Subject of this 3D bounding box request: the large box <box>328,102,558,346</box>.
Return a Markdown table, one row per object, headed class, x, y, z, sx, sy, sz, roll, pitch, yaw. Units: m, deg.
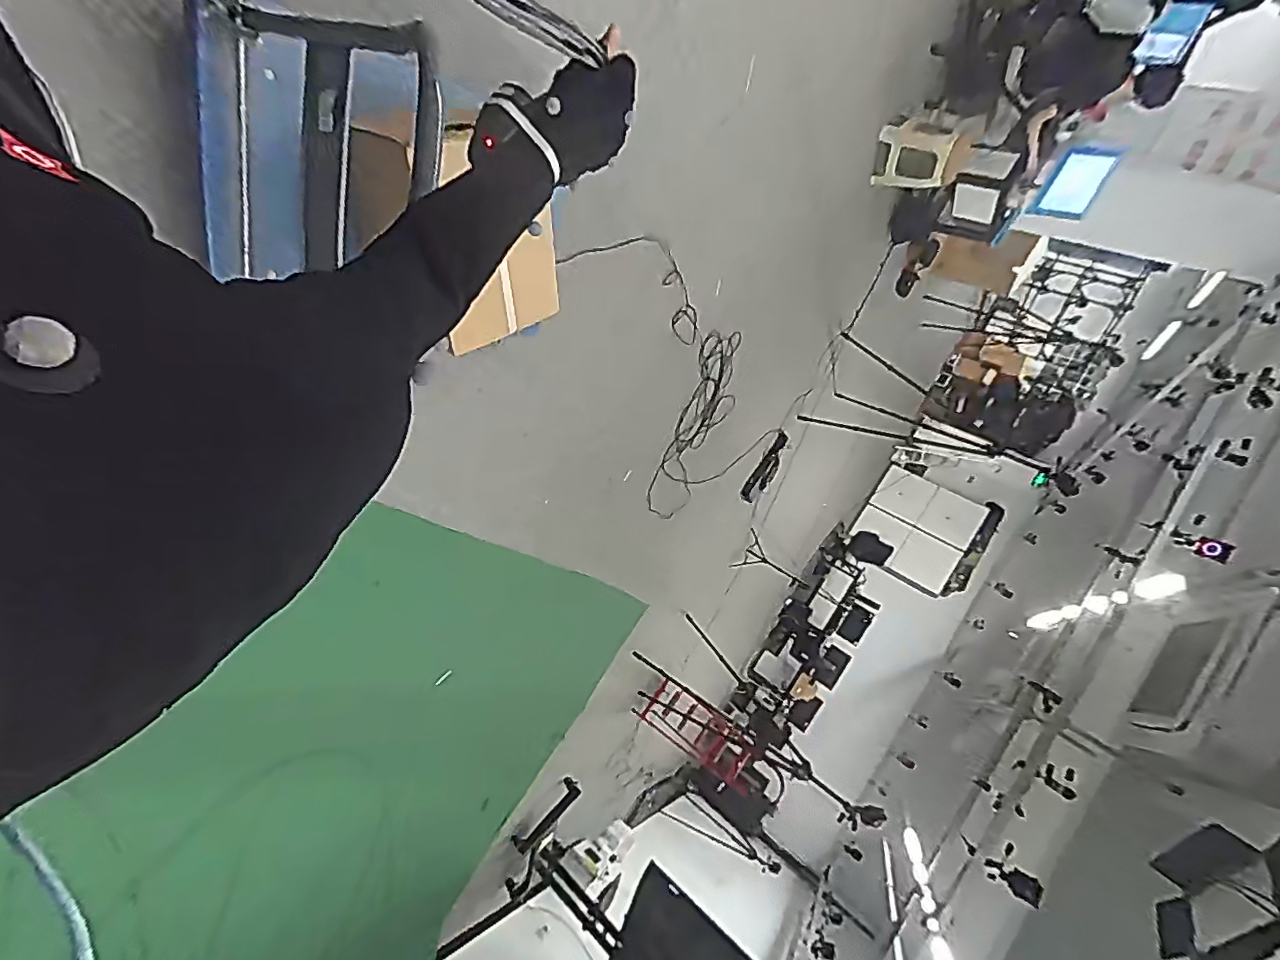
| class | x | y | z | sx | sy | sz | roll | pitch | yaw |
| --- | --- | --- | --- | --- | --- | --- | --- | --- | --- |
| large box | -0.418 | -0.581 | 1.218 | 0.320 | 0.320 | 0.408 | -37 | 144 | -34 |
